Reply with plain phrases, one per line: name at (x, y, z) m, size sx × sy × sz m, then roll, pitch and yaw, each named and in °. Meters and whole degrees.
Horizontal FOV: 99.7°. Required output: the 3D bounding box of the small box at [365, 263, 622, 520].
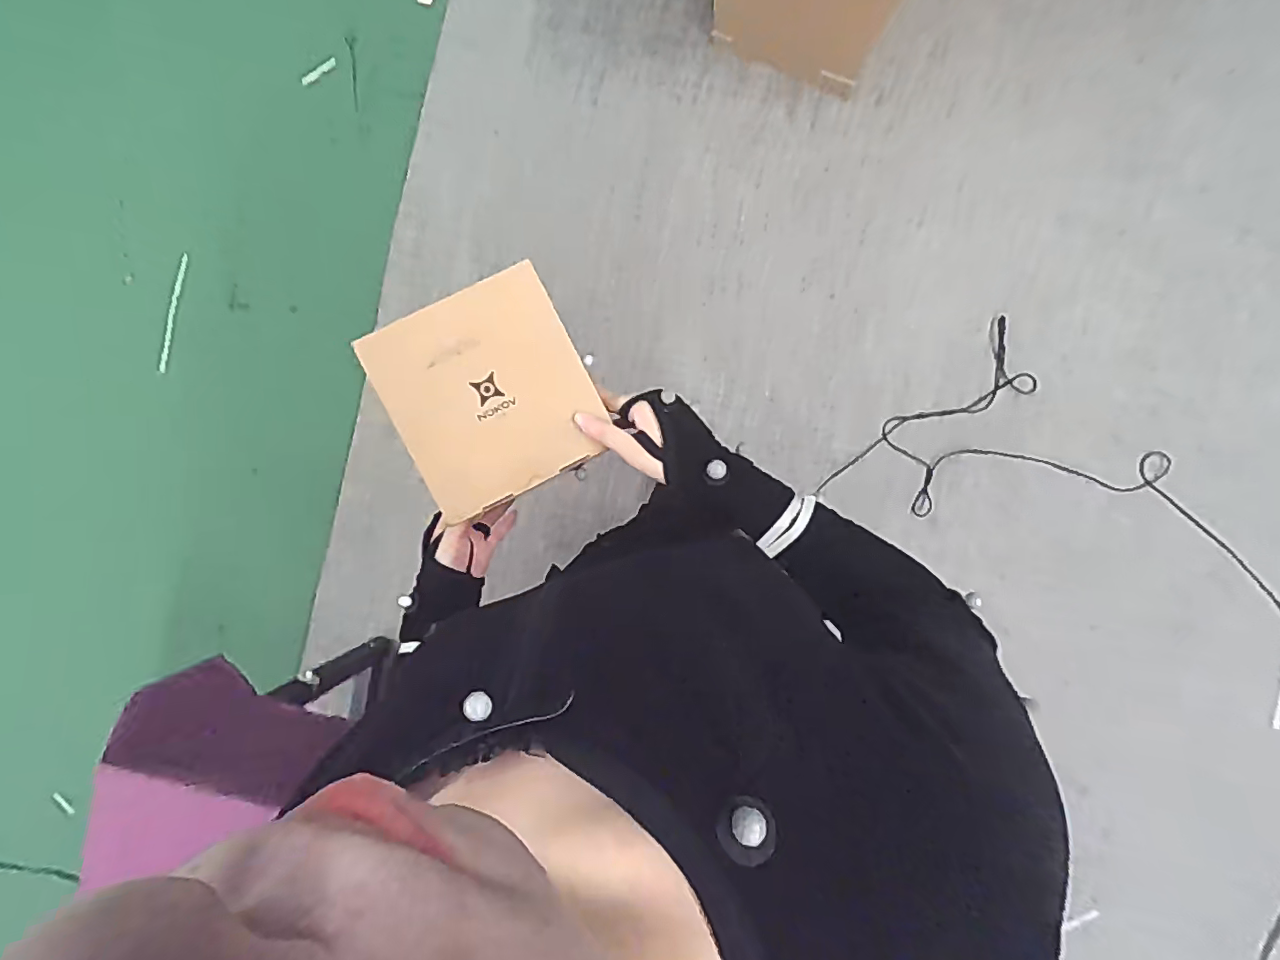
small box at (-0.129, -0.079, 0.541) m, size 0.168 × 0.176 × 0.179 m, roll -26°, pitch 94°, yaw -5°
